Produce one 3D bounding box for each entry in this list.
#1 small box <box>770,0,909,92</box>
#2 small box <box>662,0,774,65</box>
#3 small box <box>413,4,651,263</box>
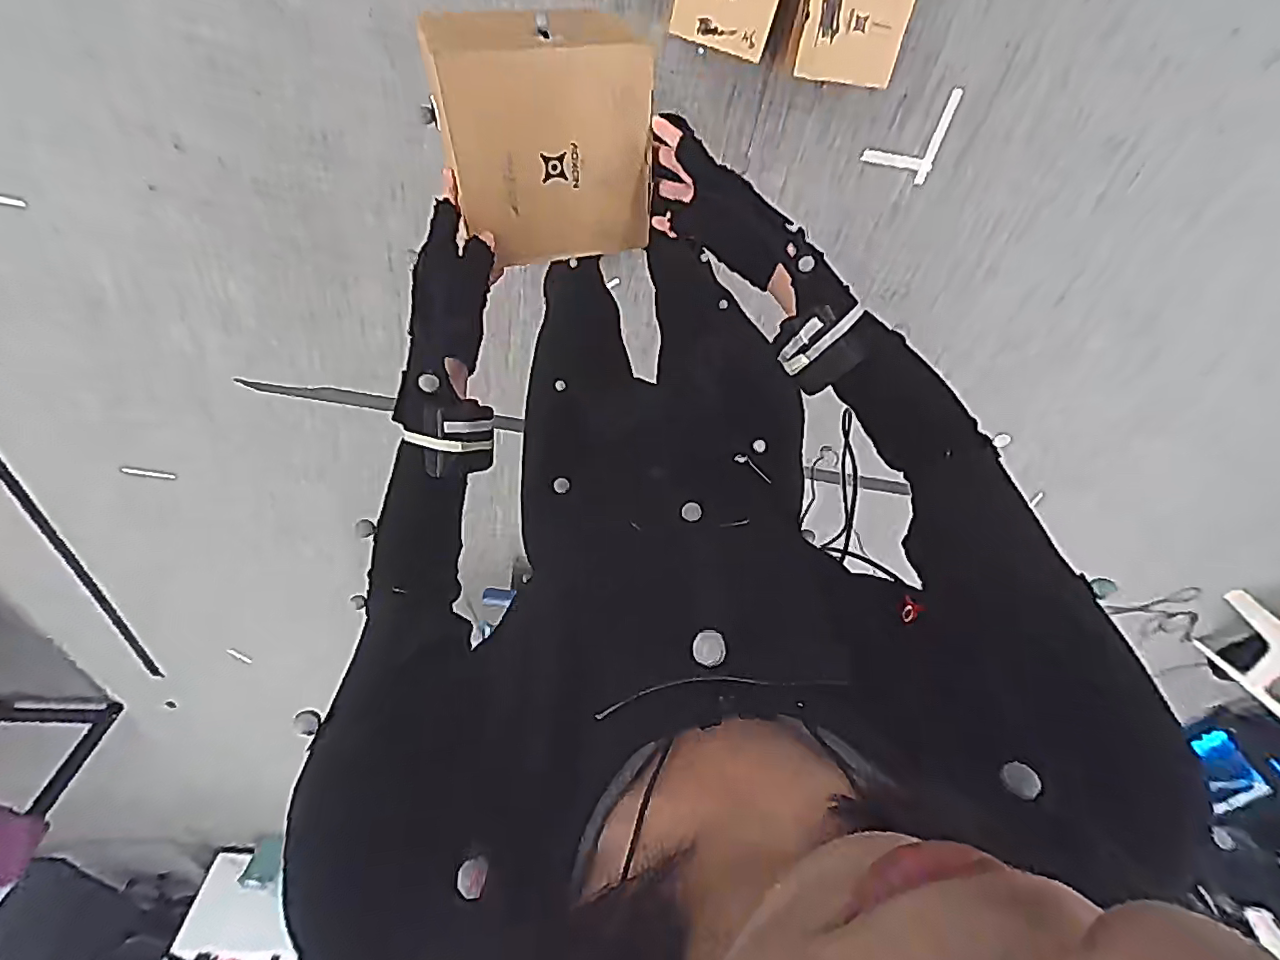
[{"bbox_3d":[0.346,-0.807,0.959,0.179,0.176,0.168,4,131,-5],"label":"small box"},{"bbox_3d":[0.137,-0.844,0.924,0.168,0.176,0.179,11,129,-10],"label":"small box"},{"bbox_3d":[-0.101,-0.334,0.517,0.179,0.176,0.168,-14,140,-13],"label":"small box"}]
